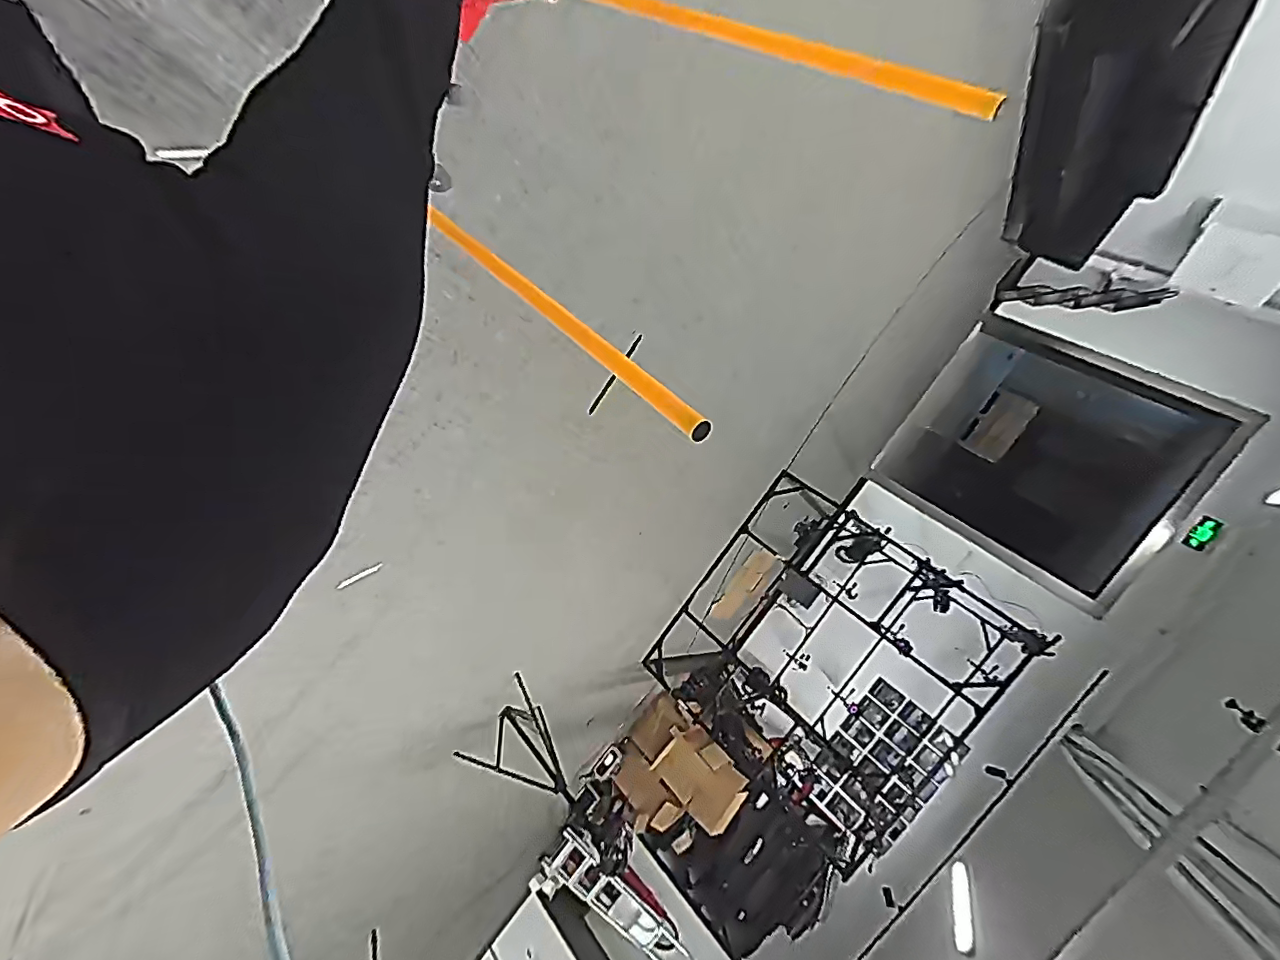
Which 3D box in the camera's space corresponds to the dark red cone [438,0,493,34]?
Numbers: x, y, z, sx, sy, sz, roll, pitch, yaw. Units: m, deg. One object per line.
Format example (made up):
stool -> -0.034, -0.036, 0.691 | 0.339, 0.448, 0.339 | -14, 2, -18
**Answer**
dark red cone -> -0.267, -1.016, 1.061 | 0.202, 0.394, 0.201 | -54, 152, 6
